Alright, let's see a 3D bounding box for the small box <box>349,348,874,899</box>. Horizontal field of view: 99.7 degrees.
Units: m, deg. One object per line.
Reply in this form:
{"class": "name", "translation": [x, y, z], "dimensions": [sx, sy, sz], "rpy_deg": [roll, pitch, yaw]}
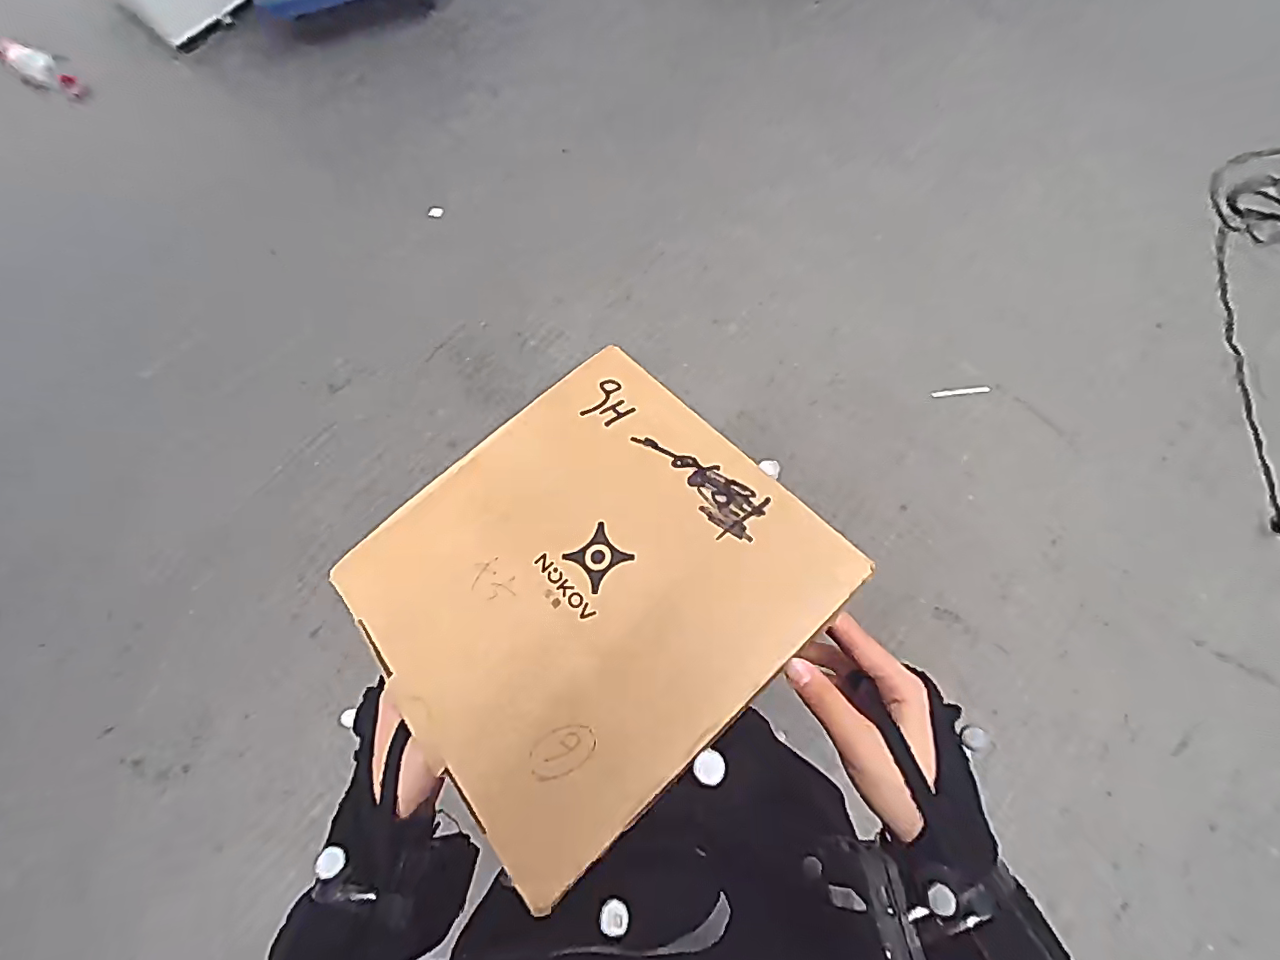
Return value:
{"class": "small box", "translation": [-0.007, 0.071, 0.301], "dimensions": [0.179, 0.176, 0.168], "rpy_deg": [-41, 66, -9]}
